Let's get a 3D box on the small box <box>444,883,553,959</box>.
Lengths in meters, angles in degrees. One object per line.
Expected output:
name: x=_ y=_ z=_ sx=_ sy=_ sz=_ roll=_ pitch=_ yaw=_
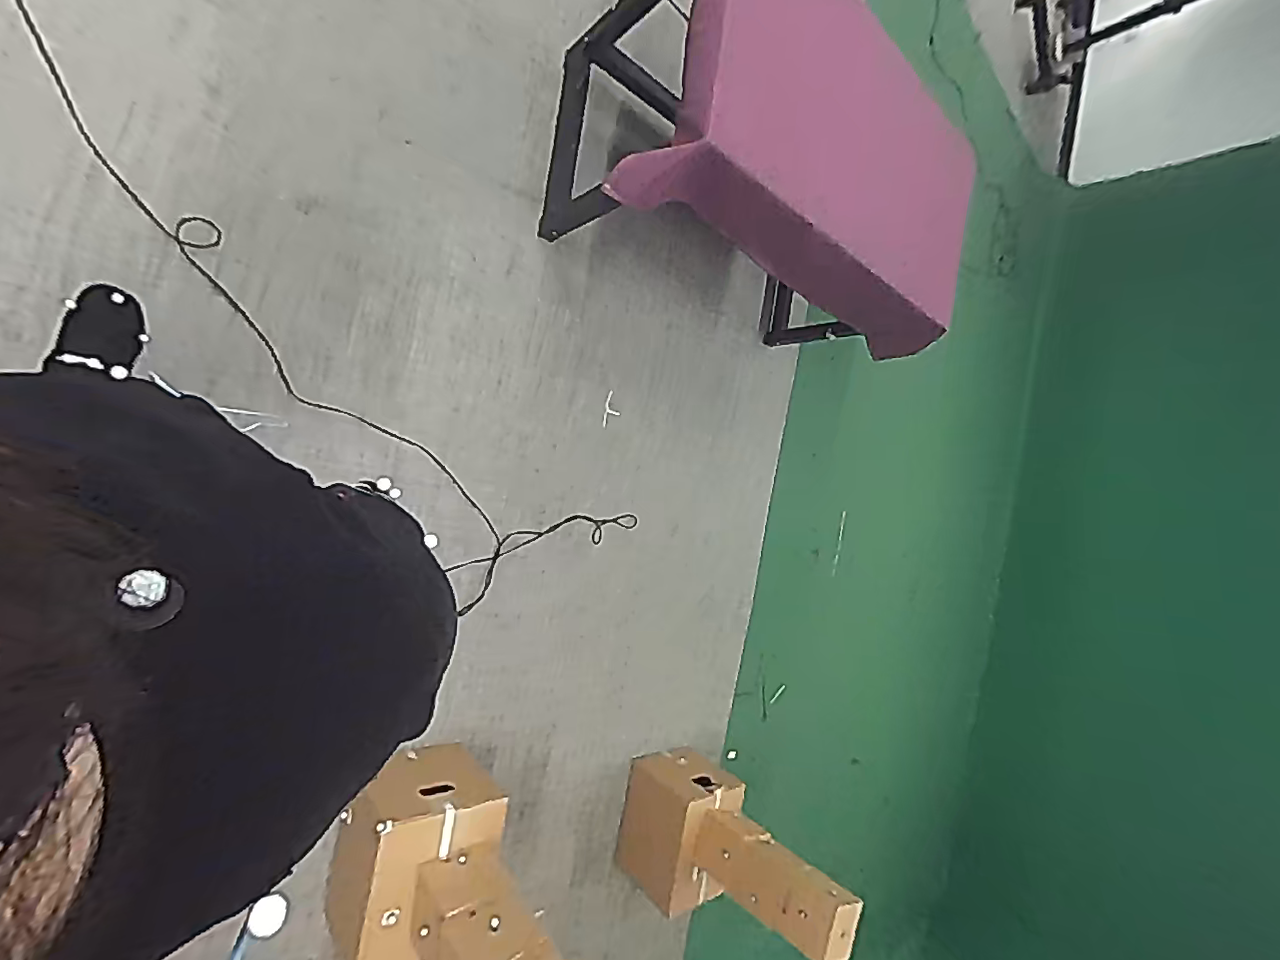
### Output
small box: x=-0.299 y=0.993 z=1.130 sx=0.168 sy=0.176 sz=0.179 roll=1 pitch=94 yaw=-41

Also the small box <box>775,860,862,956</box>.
small box: x=0.540 y=1.291 z=1.644 sx=0.179 sy=0.176 sz=0.168 roll=31 pitch=76 yaw=-39

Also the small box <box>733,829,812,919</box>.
small box: x=0.428 y=1.276 z=1.763 sx=0.168 sy=0.176 sz=0.179 roll=30 pitch=75 yaw=-39

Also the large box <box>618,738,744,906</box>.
large box: x=0.154 y=1.275 z=2.066 sx=0.320 sy=0.320 sz=0.408 roll=12 pitch=89 yaw=-40

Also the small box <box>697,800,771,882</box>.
small box: x=0.322 y=1.250 z=1.885 sx=0.168 sy=0.176 sz=0.179 roll=26 pitch=79 yaw=-39
